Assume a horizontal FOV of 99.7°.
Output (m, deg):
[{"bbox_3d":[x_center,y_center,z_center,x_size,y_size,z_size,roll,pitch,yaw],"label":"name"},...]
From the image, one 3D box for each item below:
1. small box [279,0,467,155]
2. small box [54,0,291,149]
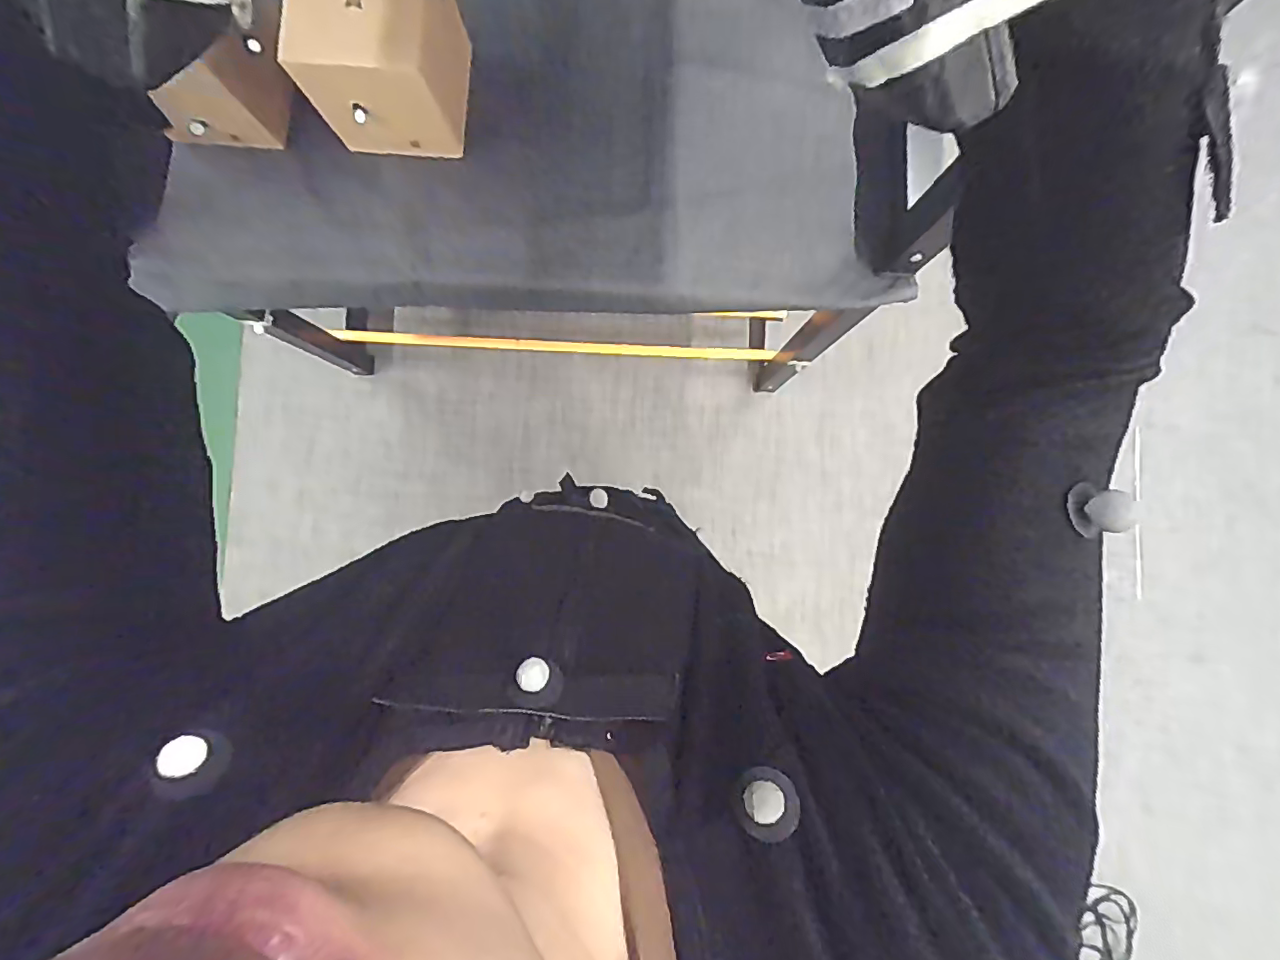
[{"bbox_3d":[-0.337,-0.565,0.715,0.168,0.176,0.179,3,87,-1],"label":"small box"},{"bbox_3d":[-0.590,-0.577,0.708,0.168,0.176,0.179,3,88,-1],"label":"small box"}]
